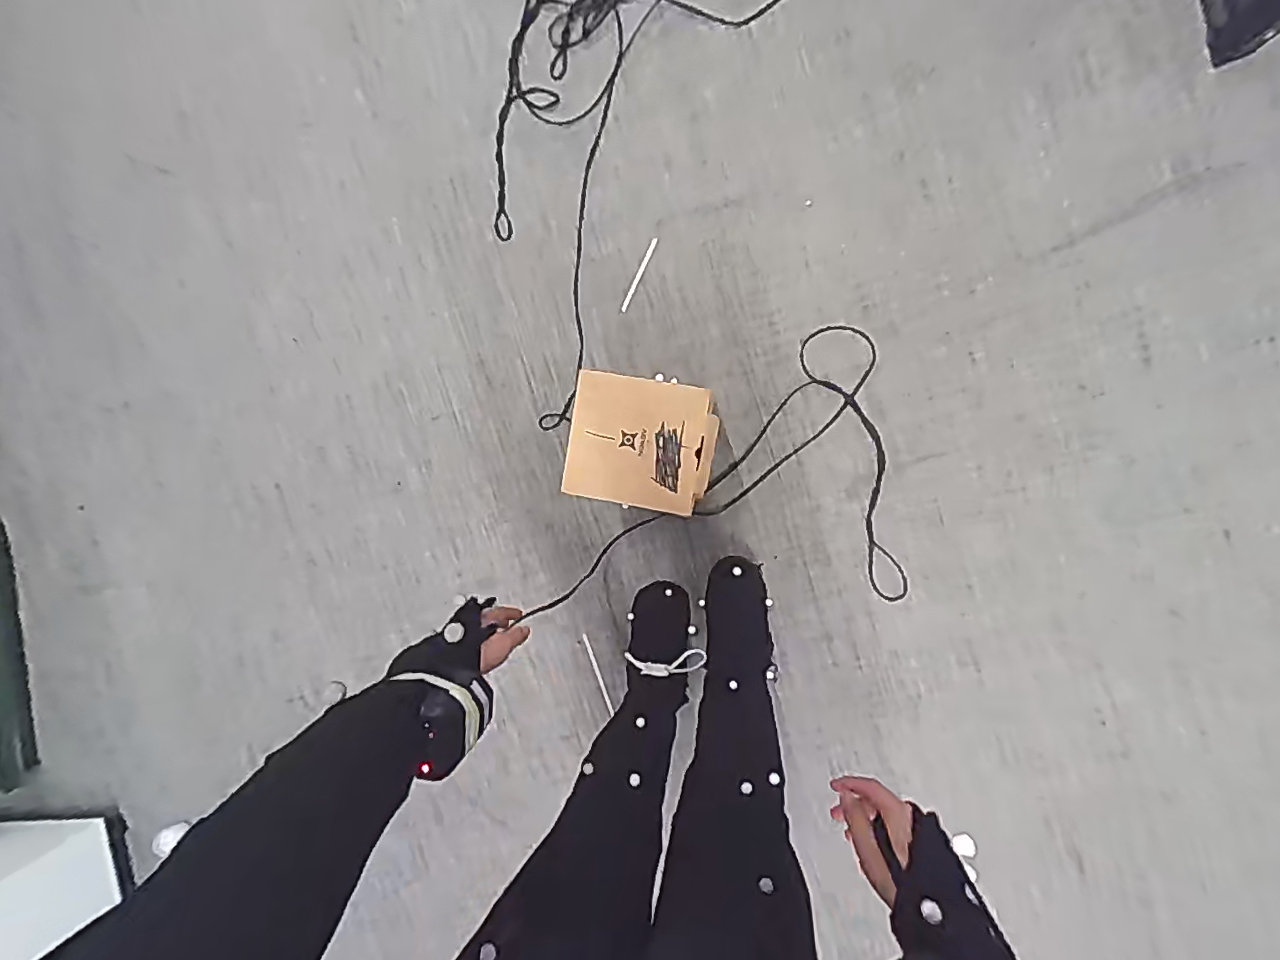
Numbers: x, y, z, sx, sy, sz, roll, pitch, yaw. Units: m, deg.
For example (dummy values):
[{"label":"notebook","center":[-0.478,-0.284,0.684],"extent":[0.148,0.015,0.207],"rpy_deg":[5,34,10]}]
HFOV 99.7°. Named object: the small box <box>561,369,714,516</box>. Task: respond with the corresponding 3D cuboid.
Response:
[{"label":"small box","center":[0.005,-0.054,0.772],"extent":[0.179,0.176,0.168],"rpy_deg":[11,95,8]}]
